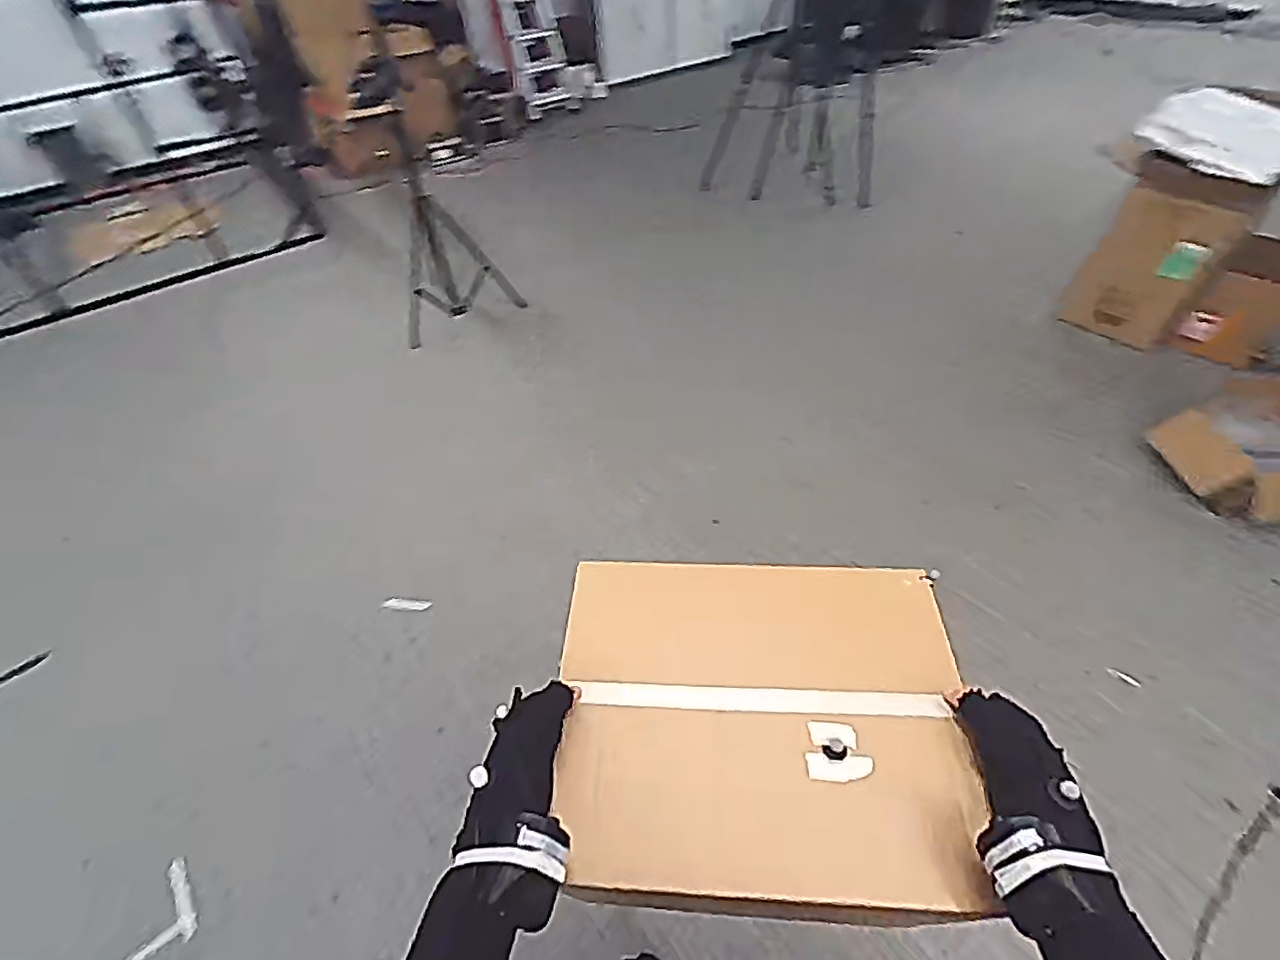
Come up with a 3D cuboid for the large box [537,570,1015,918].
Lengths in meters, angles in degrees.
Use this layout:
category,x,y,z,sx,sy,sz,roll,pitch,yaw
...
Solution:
category,x,y,z,sx,sy,sz,roll,pitch,yaw
large box,0.118,0.321,0.655,0.408,0.320,0.320,0,49,3
